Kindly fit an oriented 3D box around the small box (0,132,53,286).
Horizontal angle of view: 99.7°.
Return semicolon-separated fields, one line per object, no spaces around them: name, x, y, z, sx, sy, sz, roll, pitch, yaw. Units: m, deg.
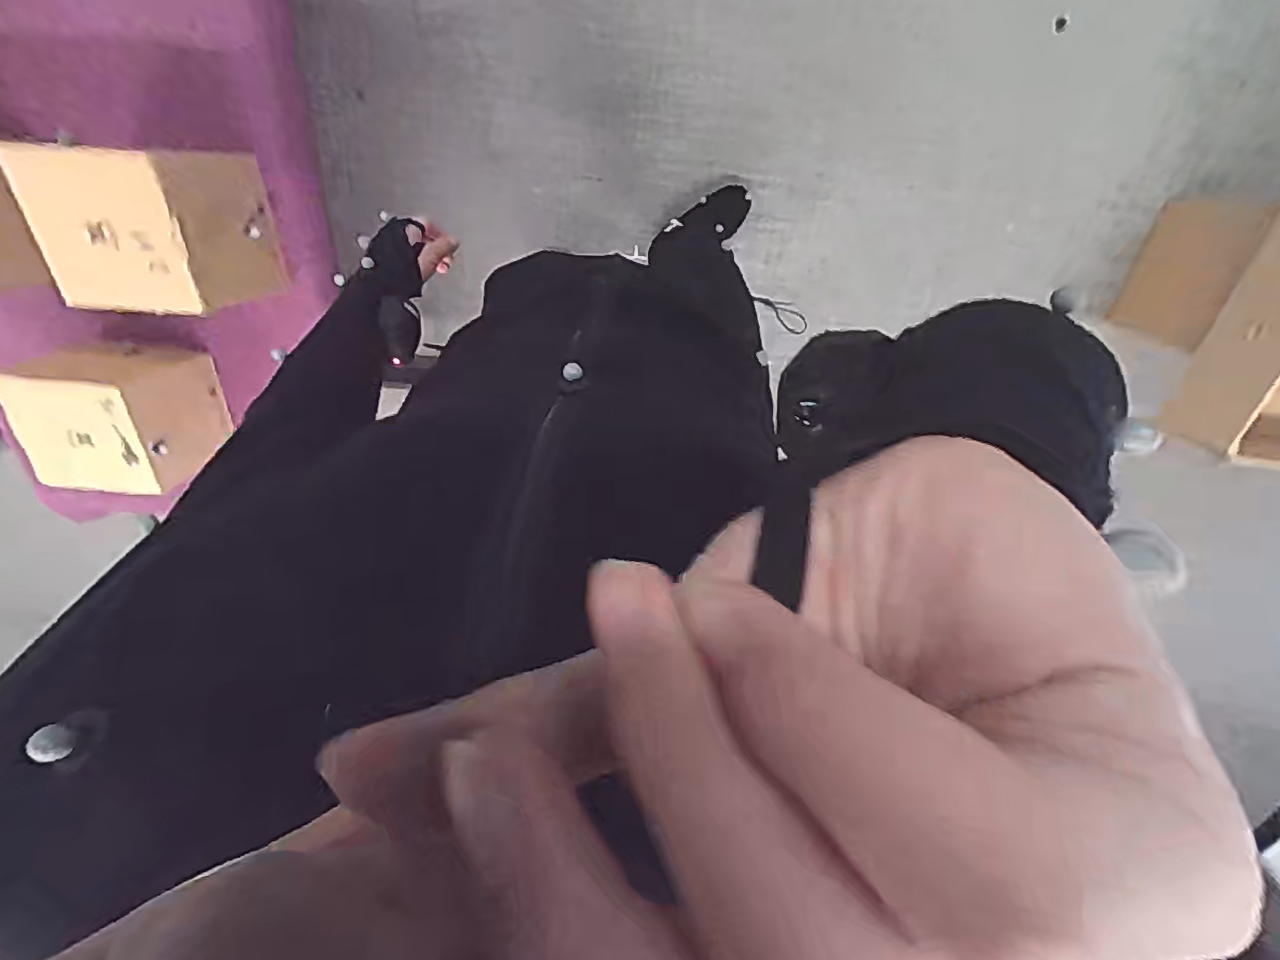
small box;-0.876;-0.343;0.674;0.179;0.176;0.168;4;121;1

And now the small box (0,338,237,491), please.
small box;-0.762;-0.104;0.807;0.179;0.176;0.168;5;122;0

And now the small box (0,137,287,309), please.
small box;-0.592;-0.321;0.673;0.179;0.176;0.168;4;121;1
